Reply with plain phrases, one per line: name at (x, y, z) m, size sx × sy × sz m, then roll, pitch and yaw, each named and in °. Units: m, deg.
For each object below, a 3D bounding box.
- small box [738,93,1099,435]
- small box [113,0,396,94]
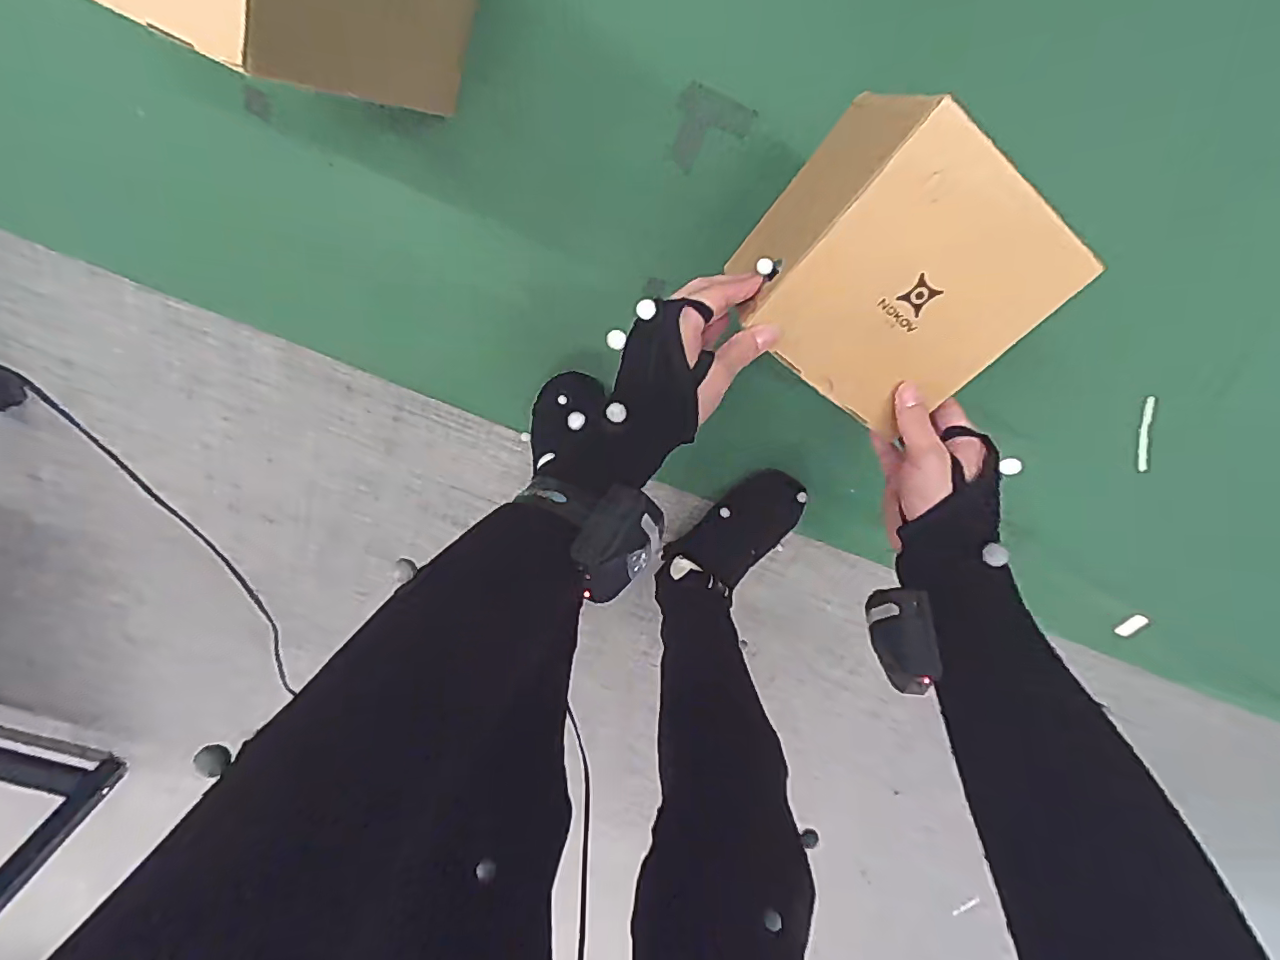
small box at (0.196, -0.177, 0.440) m, size 0.168 × 0.176 × 0.179 m, roll 31°, pitch 123°, yaw -18°
small box at (-0.266, -0.386, 0.342) m, size 0.168 × 0.176 × 0.179 m, roll 24°, pitch 119°, yaw -8°
